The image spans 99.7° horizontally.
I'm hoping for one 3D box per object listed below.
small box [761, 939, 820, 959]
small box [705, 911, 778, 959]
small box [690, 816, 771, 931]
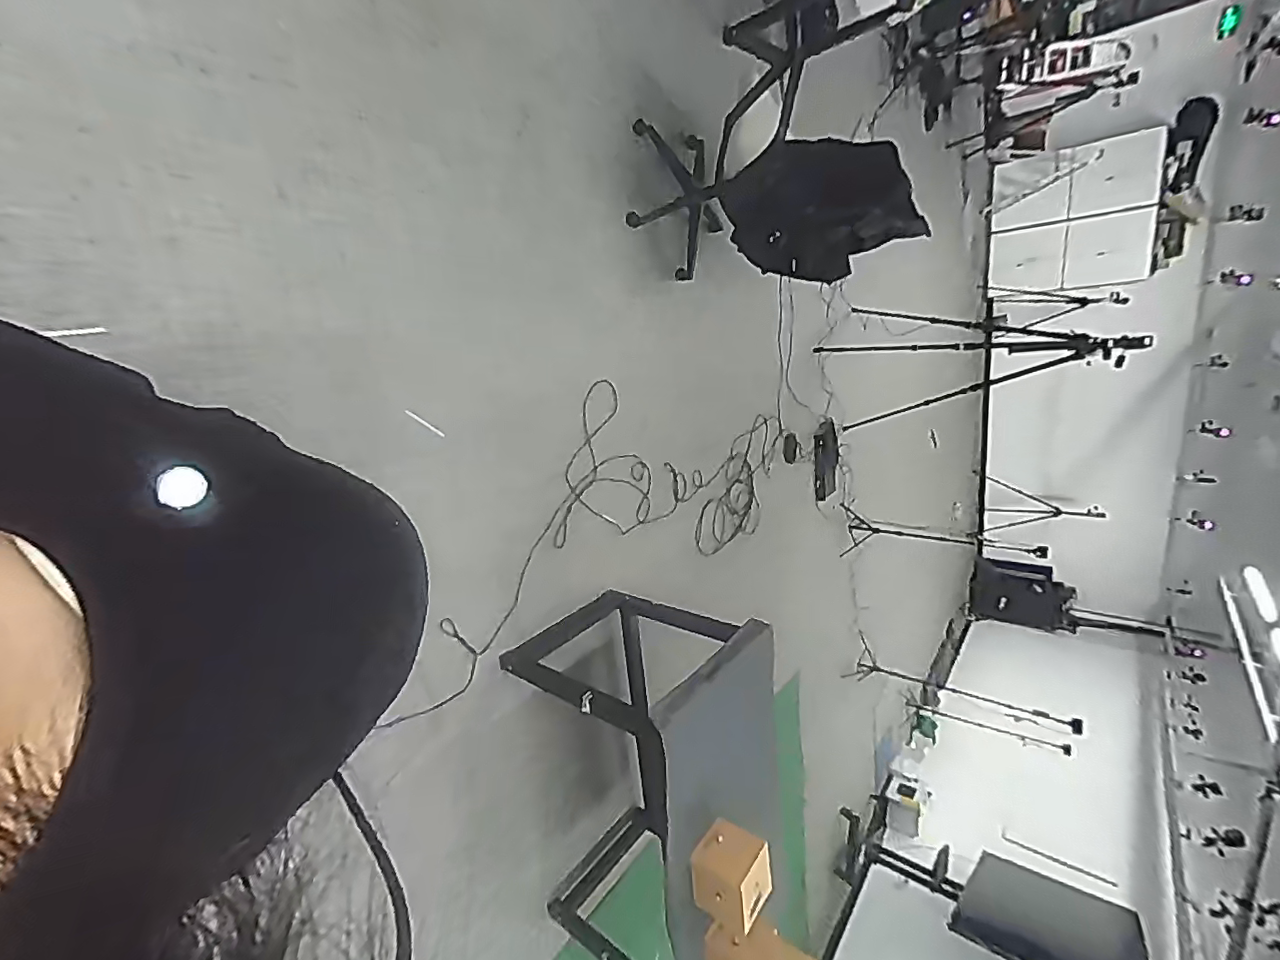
[{"bbox_3d":[0.425,1.473,1.544,0.168,0.176,0.179,-13,104,-49],"label":"small box"},{"bbox_3d":[0.309,1.445,1.658,0.168,0.176,0.179,-17,108,-48],"label":"small box"},{"bbox_3d":[0.261,1.123,1.559,0.168,0.176,0.179,-22,110,-48],"label":"small box"}]
